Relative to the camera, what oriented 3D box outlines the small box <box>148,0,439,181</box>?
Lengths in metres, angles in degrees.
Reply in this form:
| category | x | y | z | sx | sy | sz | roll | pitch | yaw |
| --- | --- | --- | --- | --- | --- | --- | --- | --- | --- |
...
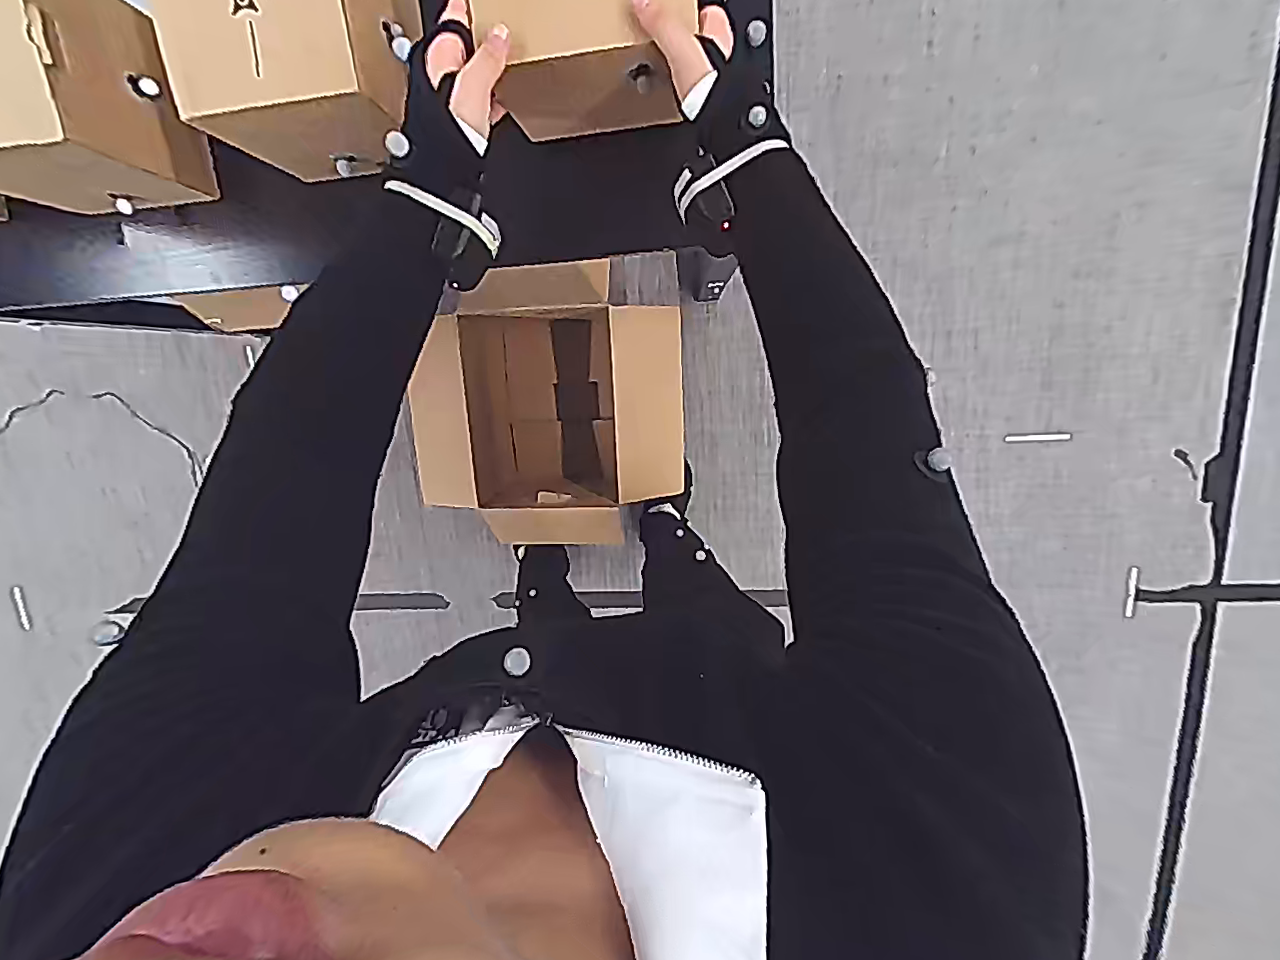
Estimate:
| category | x | y | z | sx | sy | sz | roll | pitch | yaw |
| --- | --- | --- | --- | --- | --- | --- | --- | --- | --- |
| small box | -0.311 | -0.411 | 0.509 | 0.168 | 0.176 | 0.179 | -5 | 102 | 4 |

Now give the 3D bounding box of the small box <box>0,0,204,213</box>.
| category | x | y | z | sx | sy | sz | roll | pitch | yaw |
| --- | --- | --- | --- | --- | --- | --- | --- | --- | --- |
| small box | -0.580 | -0.379 | 0.533 | 0.179 | 0.176 | 0.168 | -5 | 101 | 3 |

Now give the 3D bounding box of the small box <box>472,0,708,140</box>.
| category | x | y | z | sx | sy | sz | roll | pitch | yaw |
| --- | --- | --- | --- | --- | --- | --- | --- | --- | --- |
| small box | -0.039 | -0.420 | 0.465 | 0.179 | 0.176 | 0.168 | -4 | 104 | 6 |
